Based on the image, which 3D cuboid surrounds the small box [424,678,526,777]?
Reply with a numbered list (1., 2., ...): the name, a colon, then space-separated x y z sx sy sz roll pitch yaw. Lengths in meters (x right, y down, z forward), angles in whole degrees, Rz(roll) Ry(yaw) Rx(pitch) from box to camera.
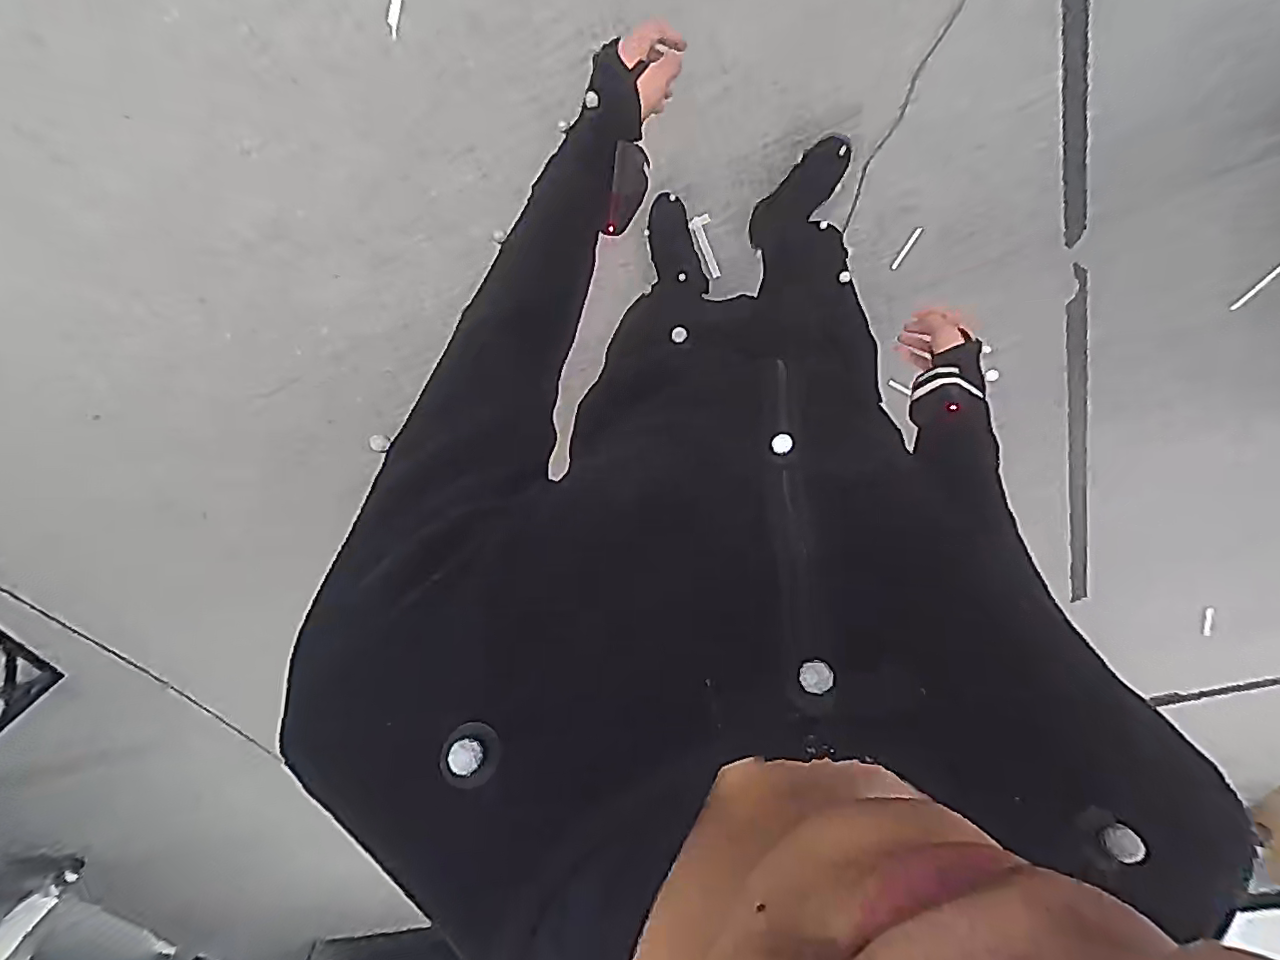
1. small box: -0.429 0.655 1.439 0.179 0.176 0.168 -16 120 14
